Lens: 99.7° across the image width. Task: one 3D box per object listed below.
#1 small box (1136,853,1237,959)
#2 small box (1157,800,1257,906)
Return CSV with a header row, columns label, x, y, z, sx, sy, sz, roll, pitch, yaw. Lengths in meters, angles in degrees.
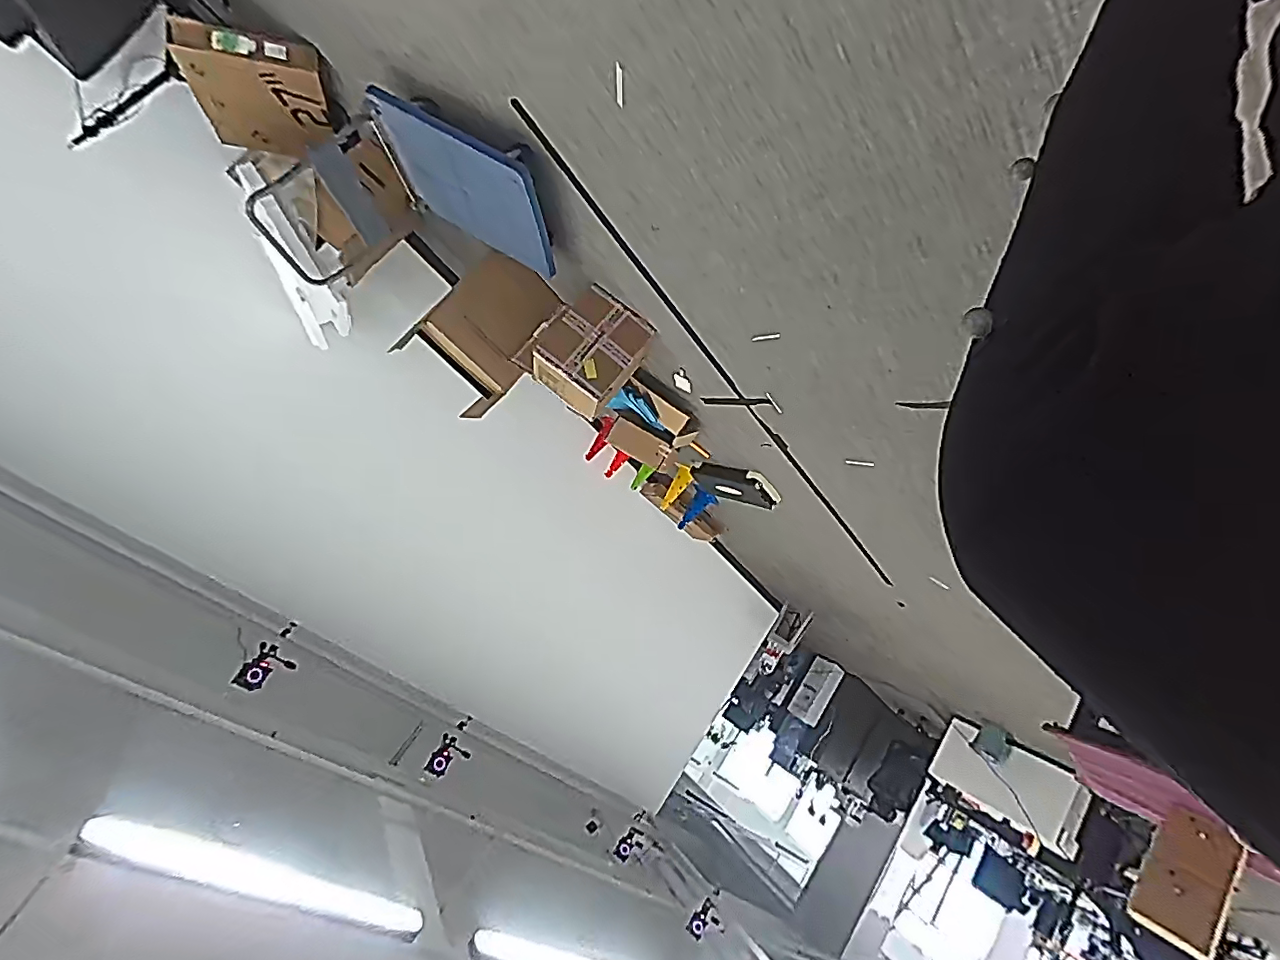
label,x,y,z,sx,sy,sz,roll,pitch,yaw
small box,1.531,1.193,1.512,0.179,0.176,0.168,46,162,-31
small box,1.628,1.065,1.551,0.179,0.176,0.168,46,163,-32
